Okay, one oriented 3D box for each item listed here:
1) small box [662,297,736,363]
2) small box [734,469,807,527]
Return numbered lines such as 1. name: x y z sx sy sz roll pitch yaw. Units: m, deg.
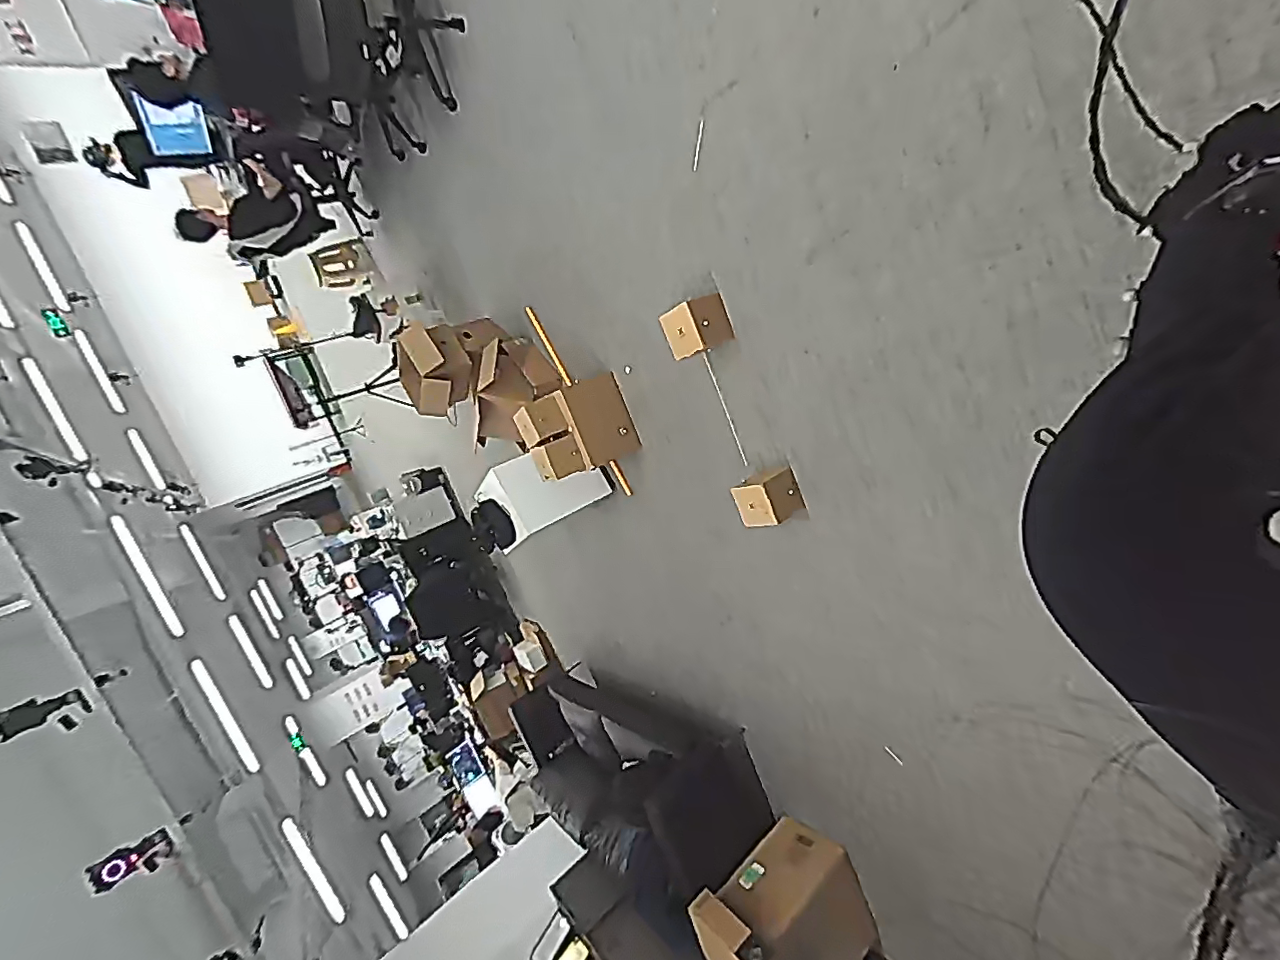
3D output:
1. small box: 0.217 -0.554 1.975 0.168 0.176 0.179 -12 104 57
2. small box: 0.495 0.069 2.049 0.179 0.176 0.168 -12 104 57
